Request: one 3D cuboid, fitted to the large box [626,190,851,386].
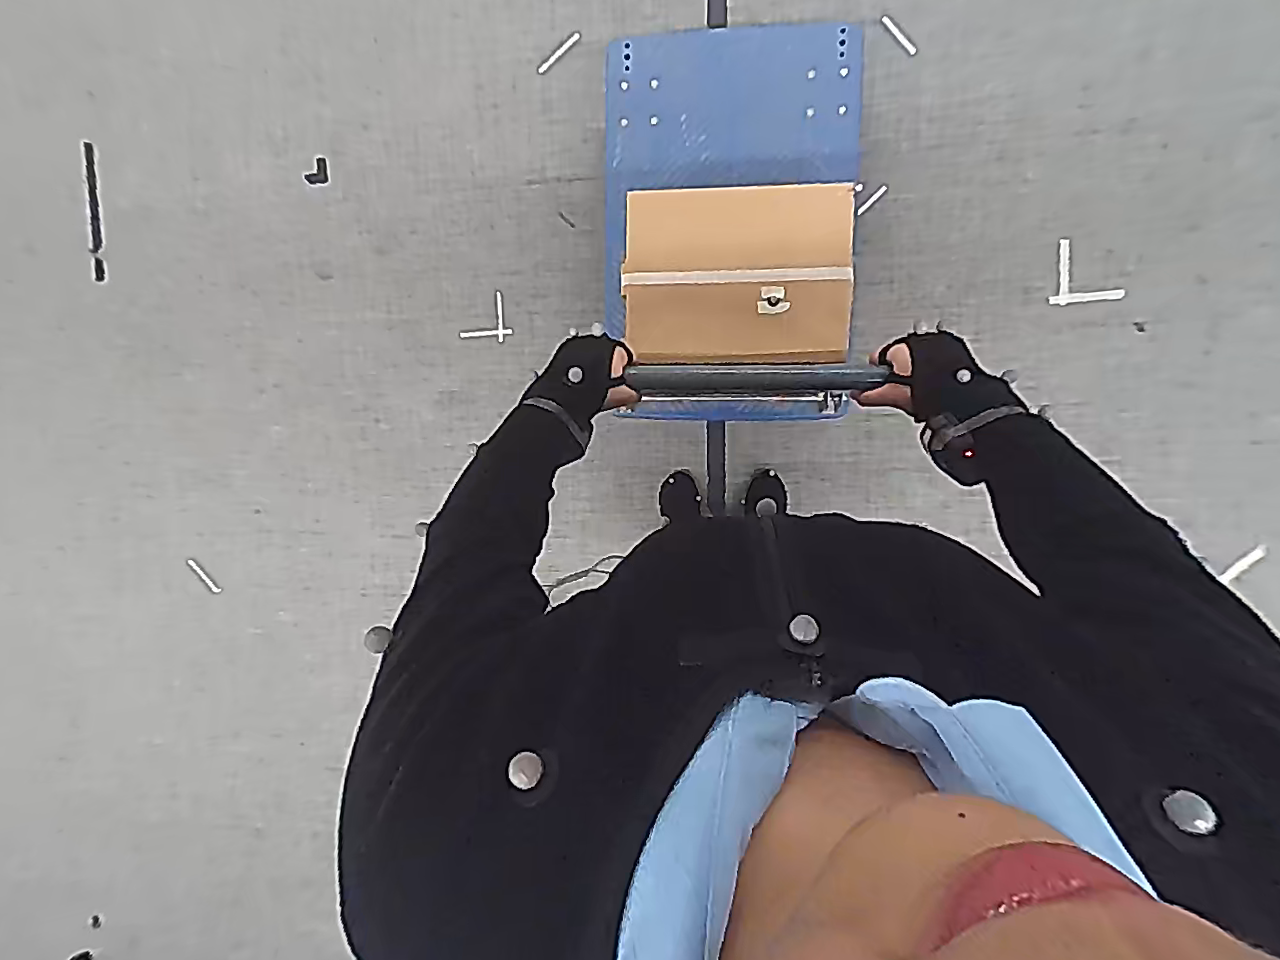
[{"bbox_3d":[0.187,-0.368,1.123,0.408,0.320,0.320,1,96,6],"label":"large box"}]
